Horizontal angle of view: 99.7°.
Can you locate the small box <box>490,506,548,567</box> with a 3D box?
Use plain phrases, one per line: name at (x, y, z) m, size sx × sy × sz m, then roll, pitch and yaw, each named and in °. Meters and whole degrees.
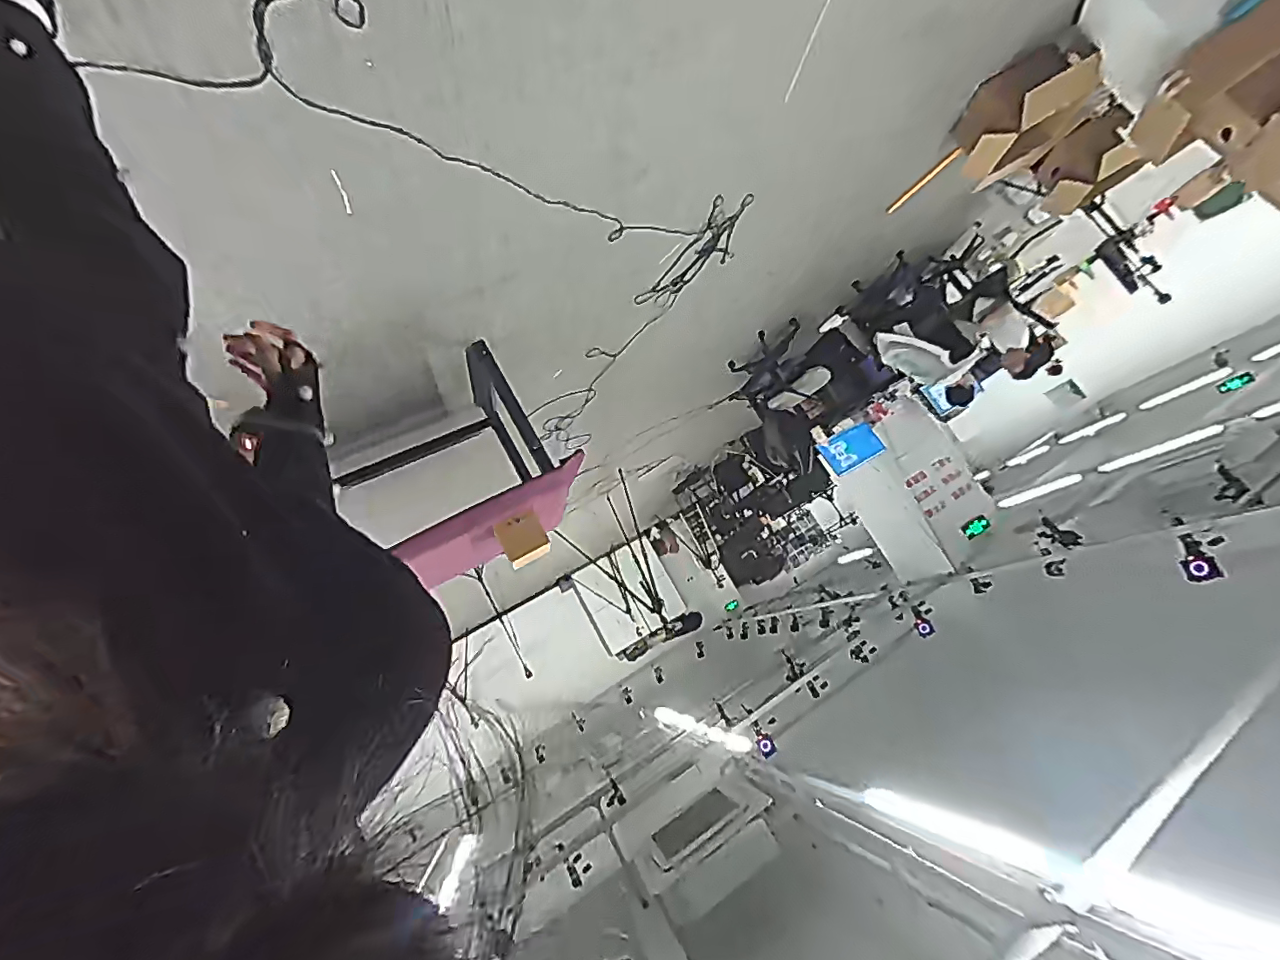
small box at (-0.475, 0.219, 2.117) m, size 0.168 × 0.176 × 0.179 m, roll -27°, pitch 168°, yaw -18°
